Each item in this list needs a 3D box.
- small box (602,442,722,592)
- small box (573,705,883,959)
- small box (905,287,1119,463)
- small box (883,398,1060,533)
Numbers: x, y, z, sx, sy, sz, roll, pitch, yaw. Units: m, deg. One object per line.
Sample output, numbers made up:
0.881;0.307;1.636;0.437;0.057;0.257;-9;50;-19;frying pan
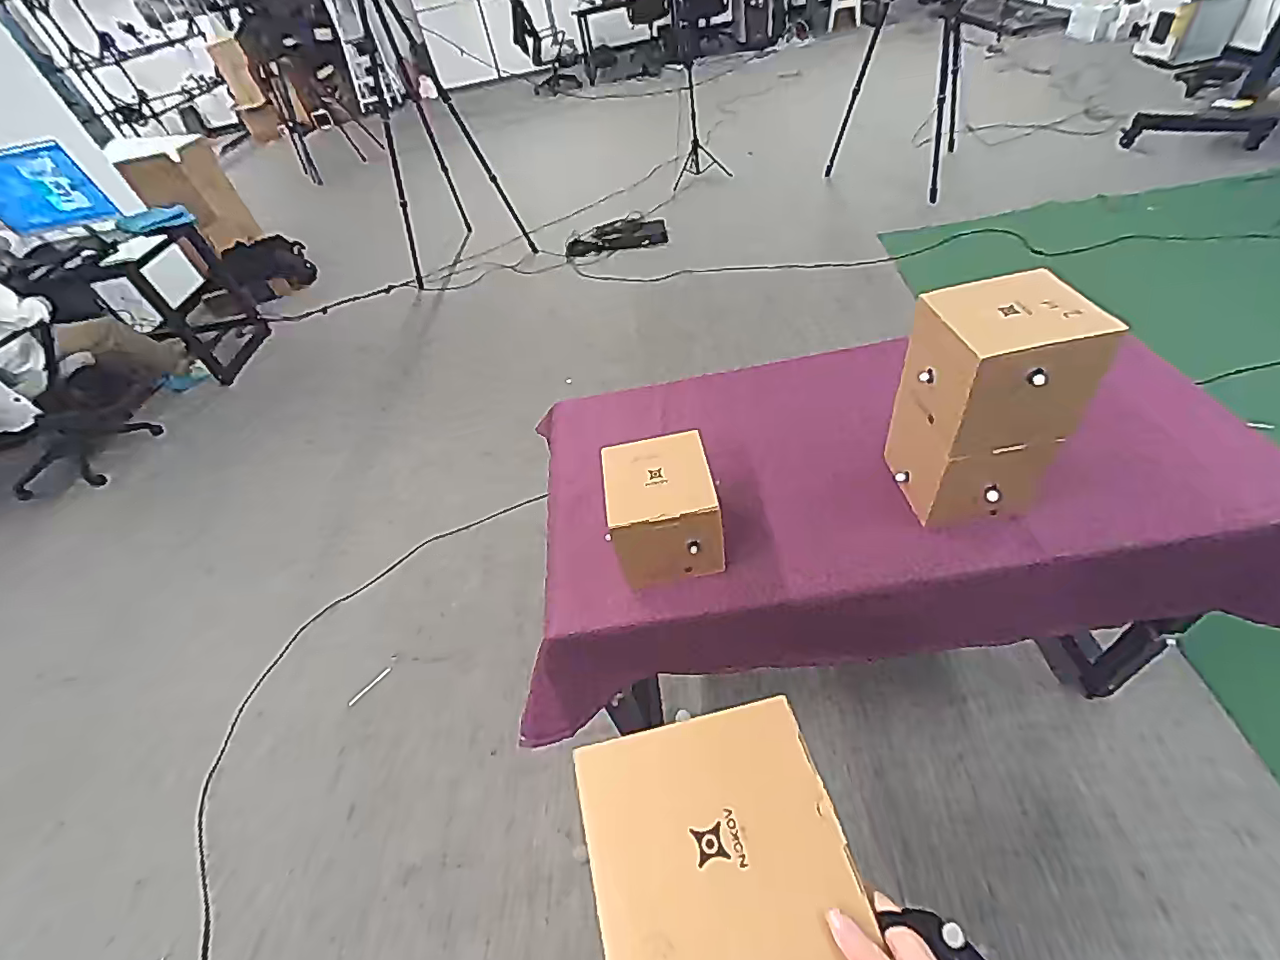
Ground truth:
0.037;0.068;0.891;0.168;0.176;0.179;-10;44;2;small box
0.050;0.308;0.432;0.179;0.176;0.168;-10;50;-10;small box
0.493;-0.142;0.757;0.179;0.176;0.168;-10;45;3;small box
0.517;-0.029;0.875;0.168;0.176;0.179;-9;46;3;small box
